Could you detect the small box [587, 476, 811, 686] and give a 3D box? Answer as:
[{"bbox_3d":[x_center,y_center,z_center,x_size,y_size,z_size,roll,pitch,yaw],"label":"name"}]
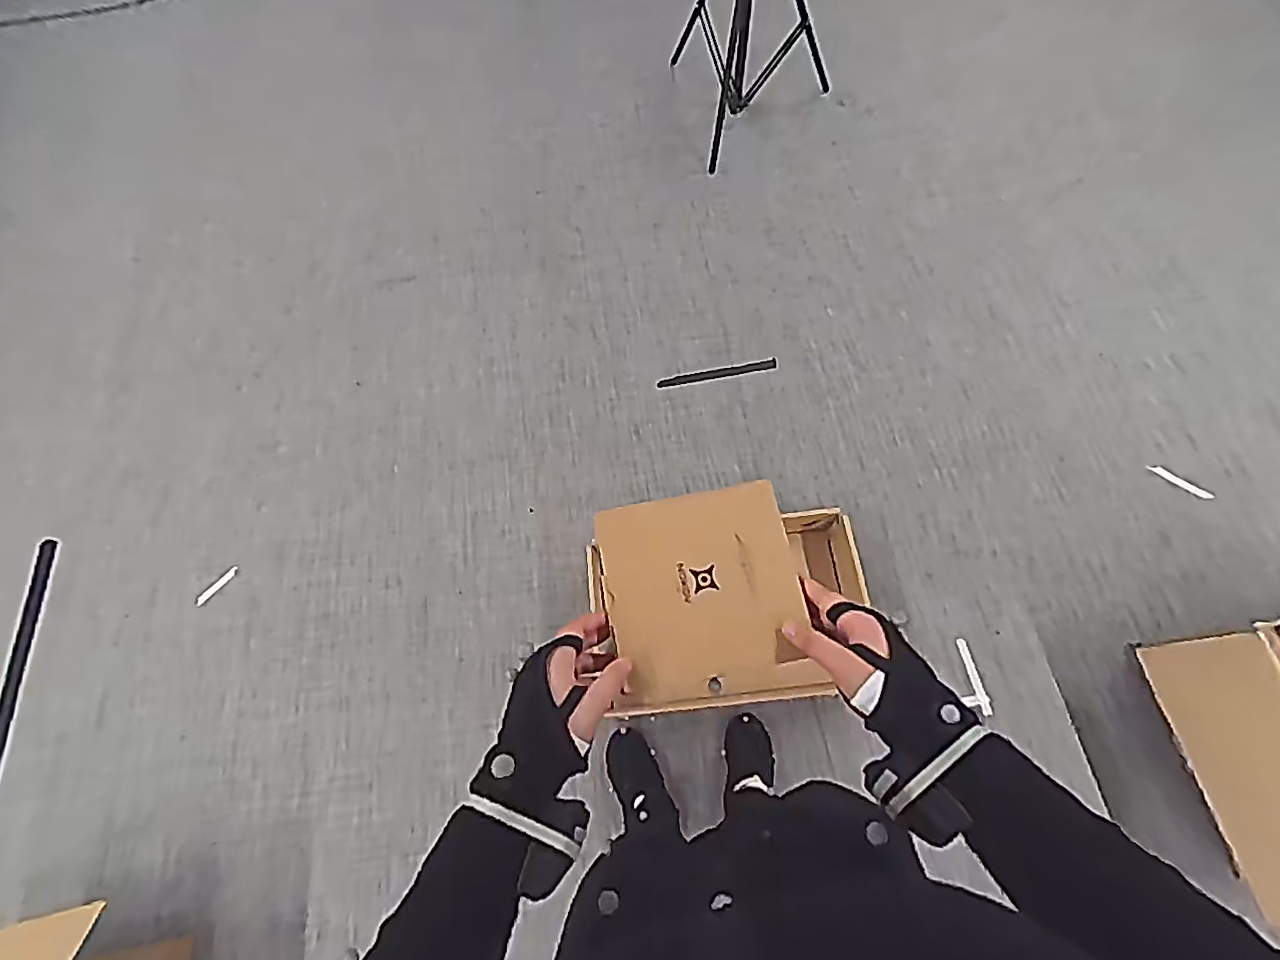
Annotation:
[{"bbox_3d":[0.051,0.112,0.564,0.179,0.176,0.168,-11,72,-3],"label":"small box"}]
